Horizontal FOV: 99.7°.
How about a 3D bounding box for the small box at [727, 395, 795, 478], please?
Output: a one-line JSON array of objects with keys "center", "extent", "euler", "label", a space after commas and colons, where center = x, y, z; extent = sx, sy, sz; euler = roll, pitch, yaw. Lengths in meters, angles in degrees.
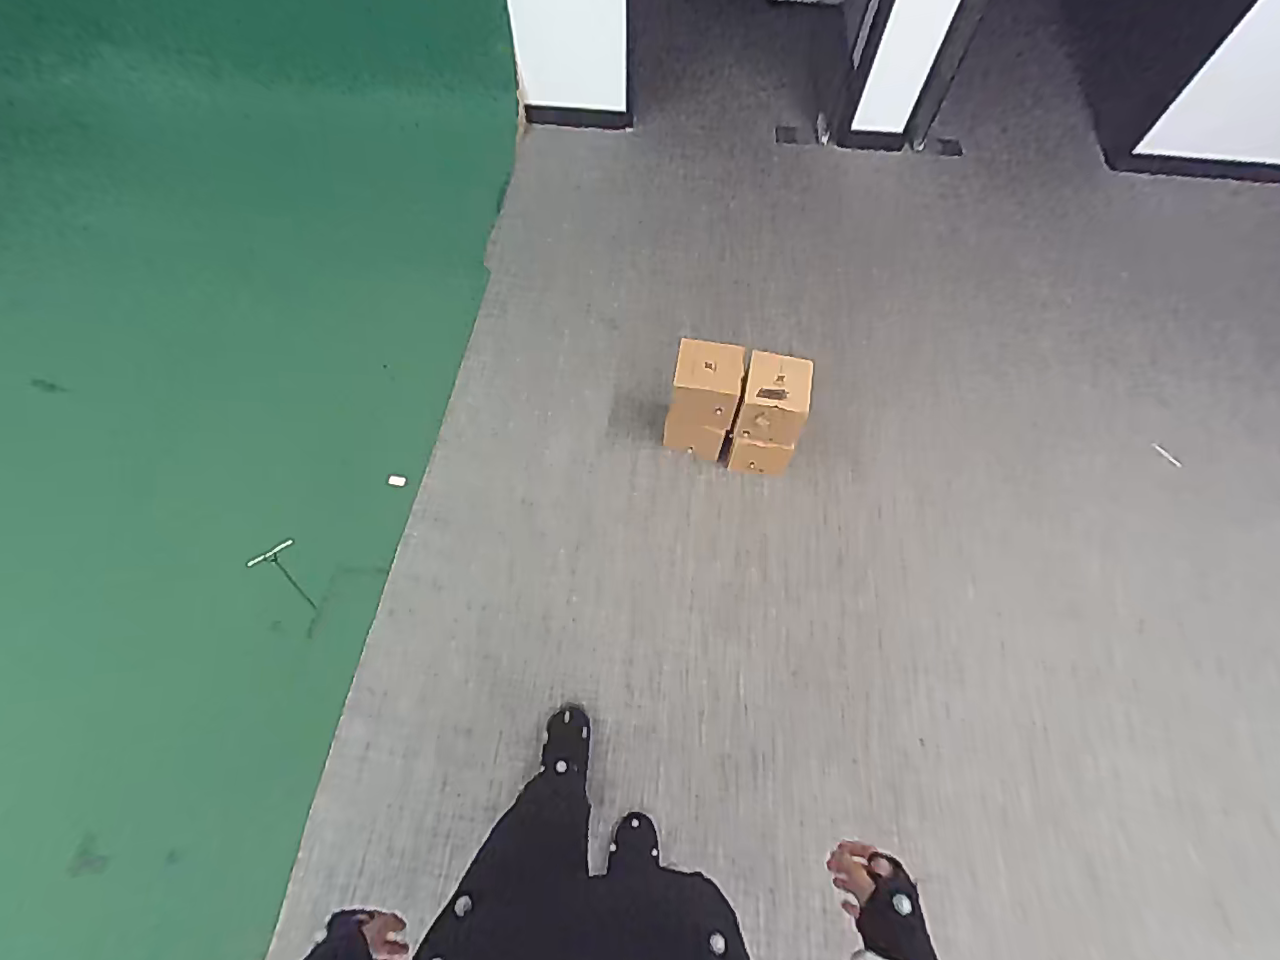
[{"center": [0.357, -0.126, 1.612], "extent": [0.168, 0.176, 0.179], "euler": [6, 64, 2], "label": "small box"}]
